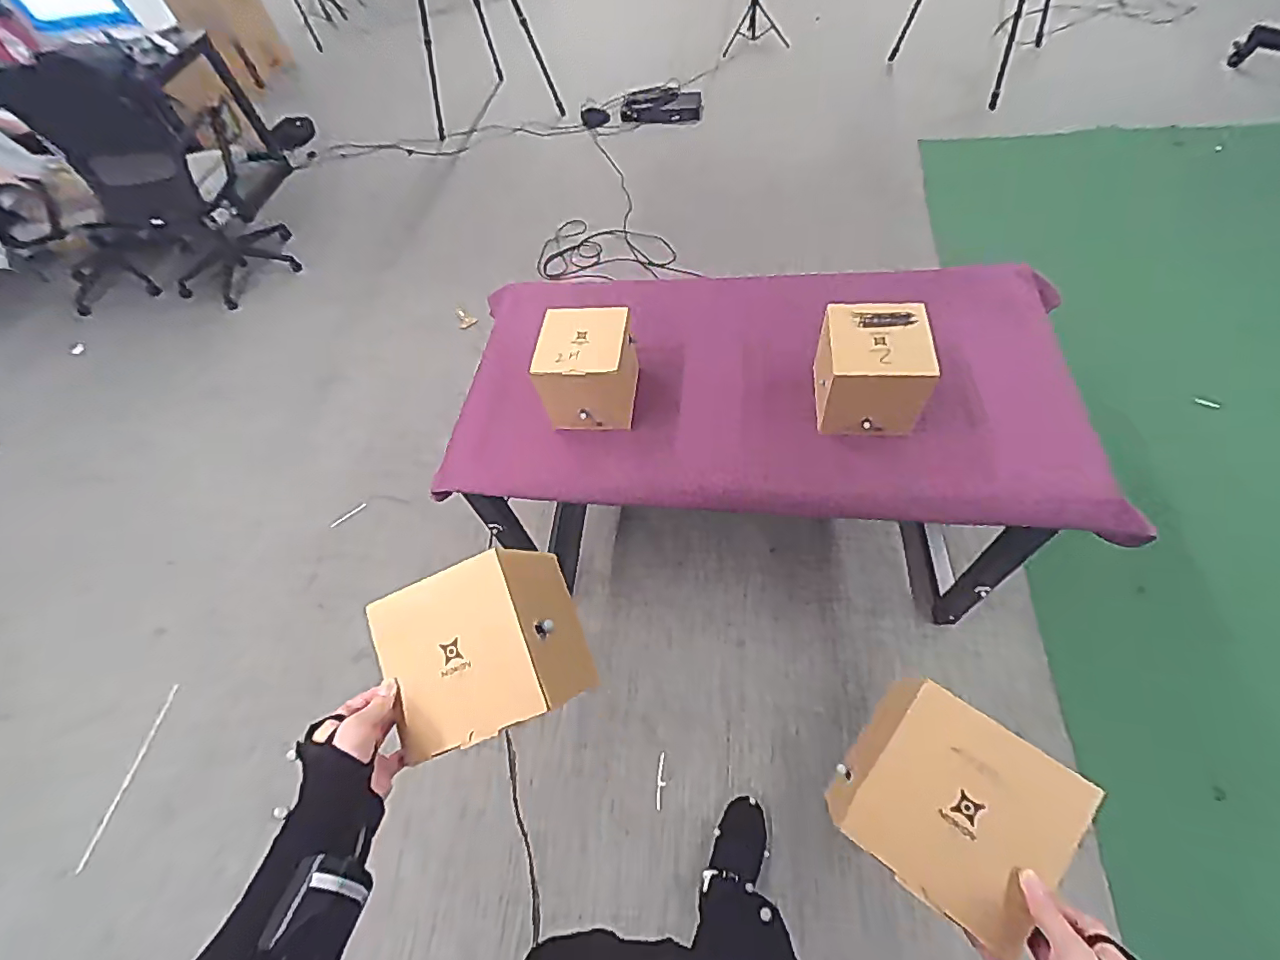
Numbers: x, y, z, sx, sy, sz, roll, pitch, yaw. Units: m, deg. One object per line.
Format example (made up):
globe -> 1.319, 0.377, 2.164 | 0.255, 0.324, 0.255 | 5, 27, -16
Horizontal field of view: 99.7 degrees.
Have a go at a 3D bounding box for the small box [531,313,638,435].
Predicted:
small box -> -0.101, -0.212, 1.085 | 0.168, 0.176, 0.179 | 1, 57, 10

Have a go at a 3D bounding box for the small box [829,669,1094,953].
small box -> 0.319, 0.326, 0.579 | 0.168, 0.176, 0.179 | 32, 82, 23

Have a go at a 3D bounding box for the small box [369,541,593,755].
small box -> -0.177, 0.188, 0.640 | 0.168, 0.176, 0.179 | -25, 76, 7
